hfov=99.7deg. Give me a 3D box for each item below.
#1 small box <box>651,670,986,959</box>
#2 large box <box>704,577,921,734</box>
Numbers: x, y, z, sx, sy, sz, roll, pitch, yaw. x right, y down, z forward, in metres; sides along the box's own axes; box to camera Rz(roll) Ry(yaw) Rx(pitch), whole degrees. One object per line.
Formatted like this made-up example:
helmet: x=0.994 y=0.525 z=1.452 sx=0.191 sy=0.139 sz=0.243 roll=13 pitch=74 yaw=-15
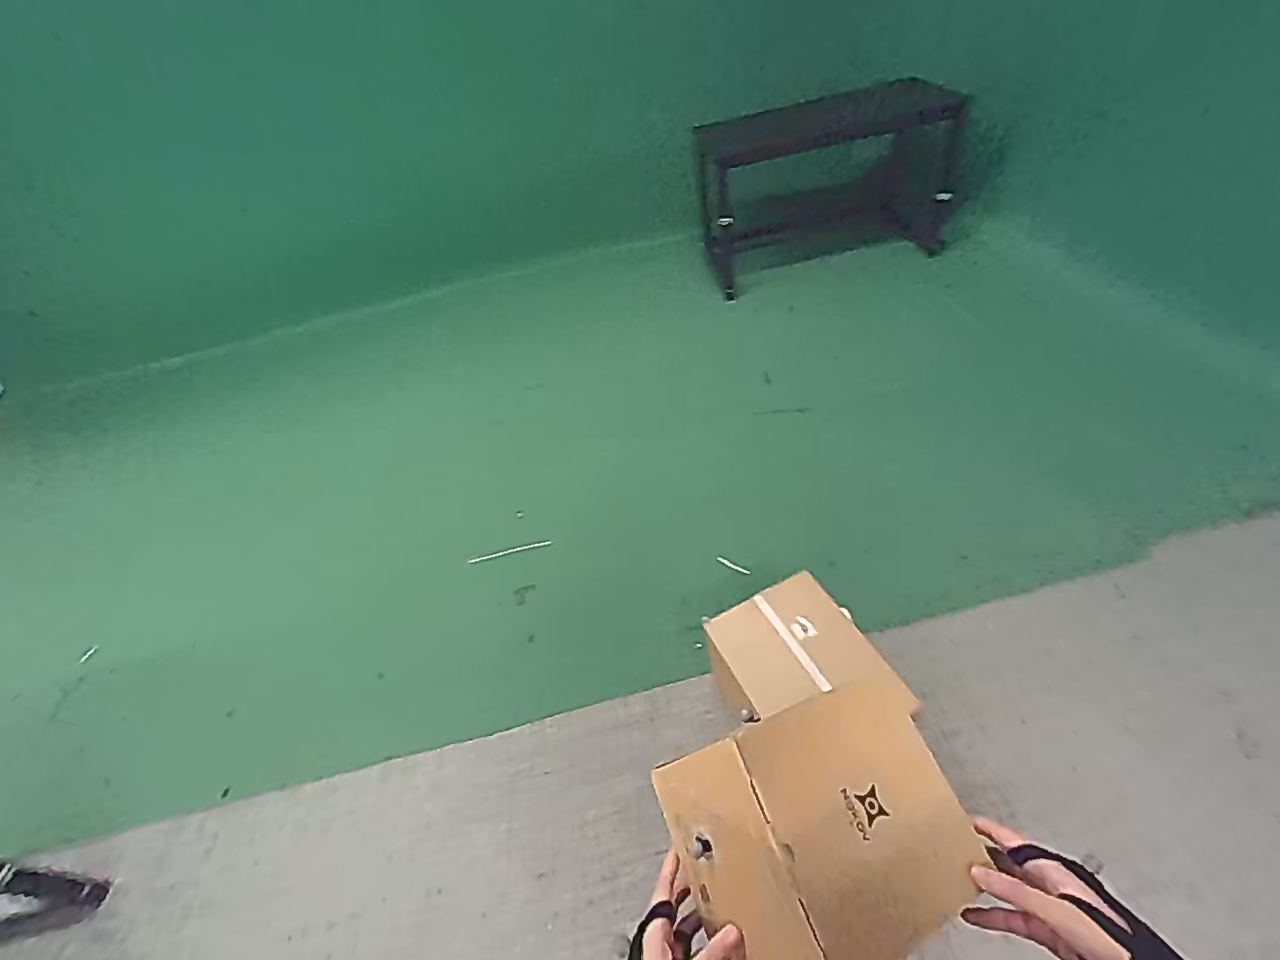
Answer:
small box: x=0.136 y=0.289 z=0.468 sx=0.179 sy=0.176 sz=0.168 roll=-9 pitch=59 yaw=-29
large box: x=0.402 y=0.529 z=1.336 sx=0.320 sy=0.320 sz=0.408 roll=-23 pitch=44 yaw=-11
